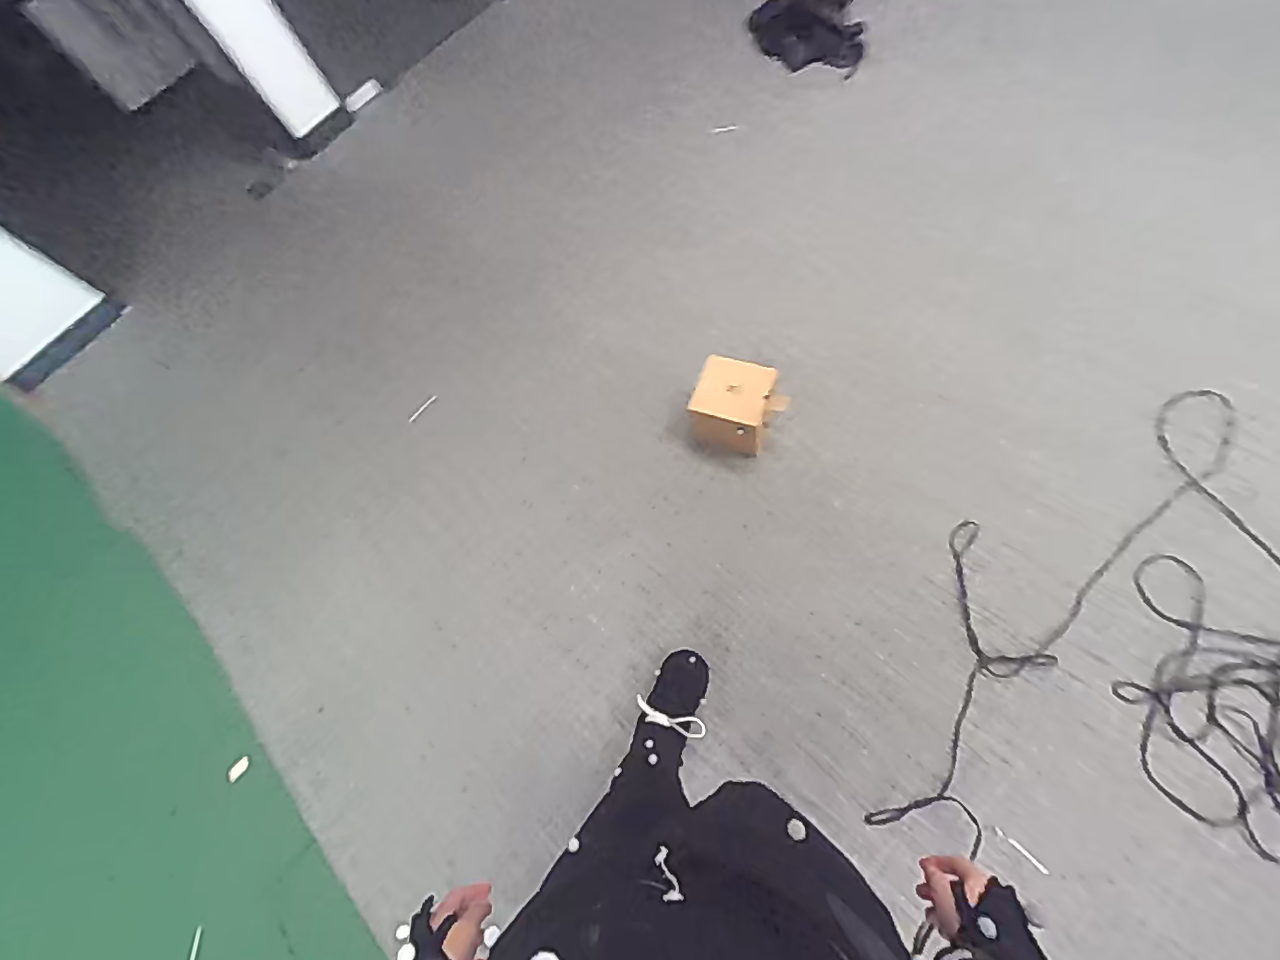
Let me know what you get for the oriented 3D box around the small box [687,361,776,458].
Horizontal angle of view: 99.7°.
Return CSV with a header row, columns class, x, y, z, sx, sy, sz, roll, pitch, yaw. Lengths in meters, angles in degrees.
class,x,y,z,sx,sy,sz,roll,pitch,yaw
small box,0.233,-0.173,1.372,0.179,0.176,0.168,17,71,17
